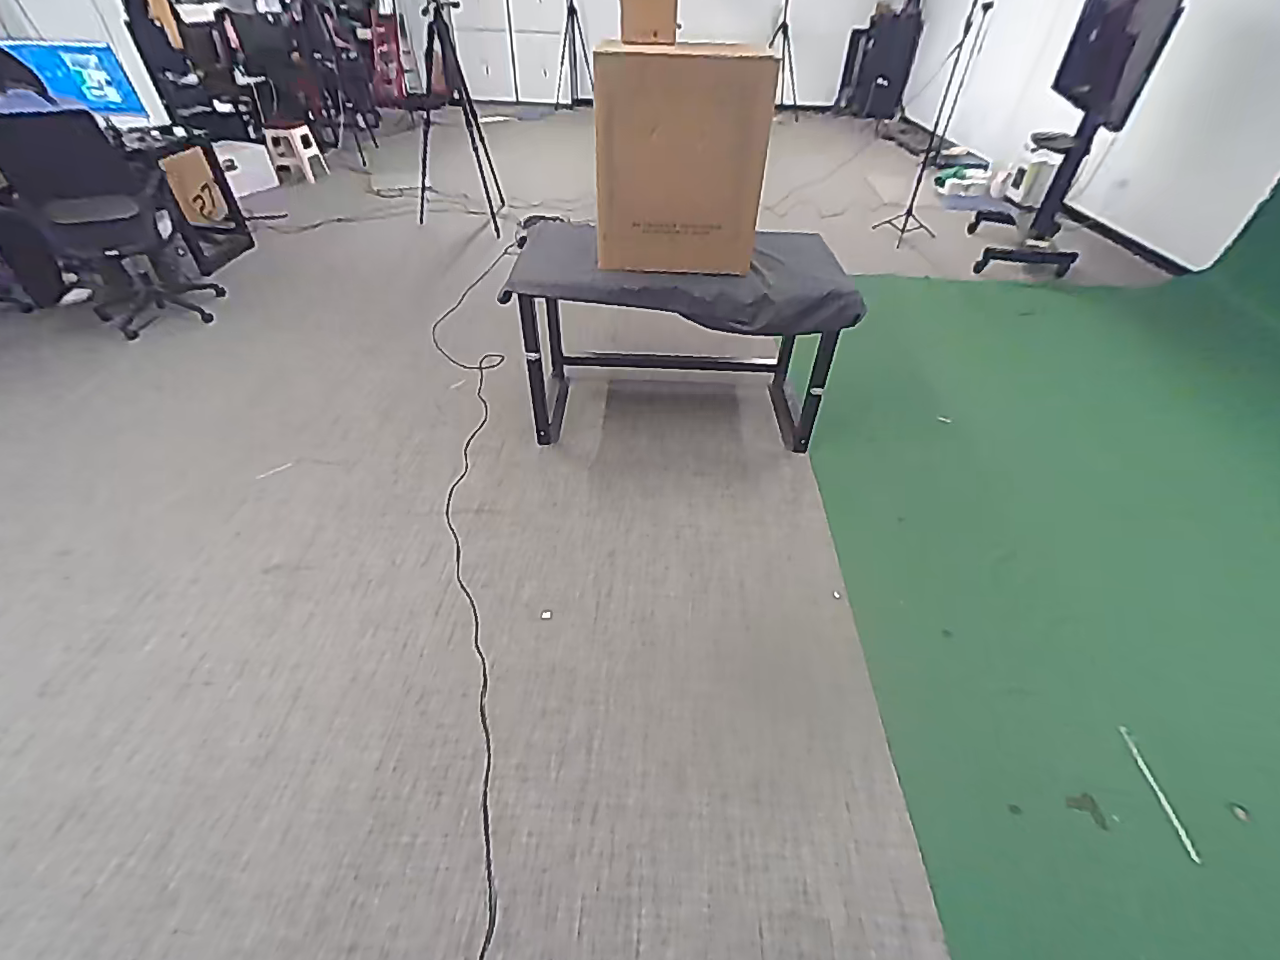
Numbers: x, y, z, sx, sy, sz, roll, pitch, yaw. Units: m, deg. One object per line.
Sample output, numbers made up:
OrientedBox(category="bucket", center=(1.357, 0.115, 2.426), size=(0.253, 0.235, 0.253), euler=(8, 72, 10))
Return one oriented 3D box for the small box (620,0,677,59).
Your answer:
OrientedBox(category="small box", center=(0.026, -1.394, 1.641), size=(0.168, 0.176, 0.179), euler=(2, 40, 2))
